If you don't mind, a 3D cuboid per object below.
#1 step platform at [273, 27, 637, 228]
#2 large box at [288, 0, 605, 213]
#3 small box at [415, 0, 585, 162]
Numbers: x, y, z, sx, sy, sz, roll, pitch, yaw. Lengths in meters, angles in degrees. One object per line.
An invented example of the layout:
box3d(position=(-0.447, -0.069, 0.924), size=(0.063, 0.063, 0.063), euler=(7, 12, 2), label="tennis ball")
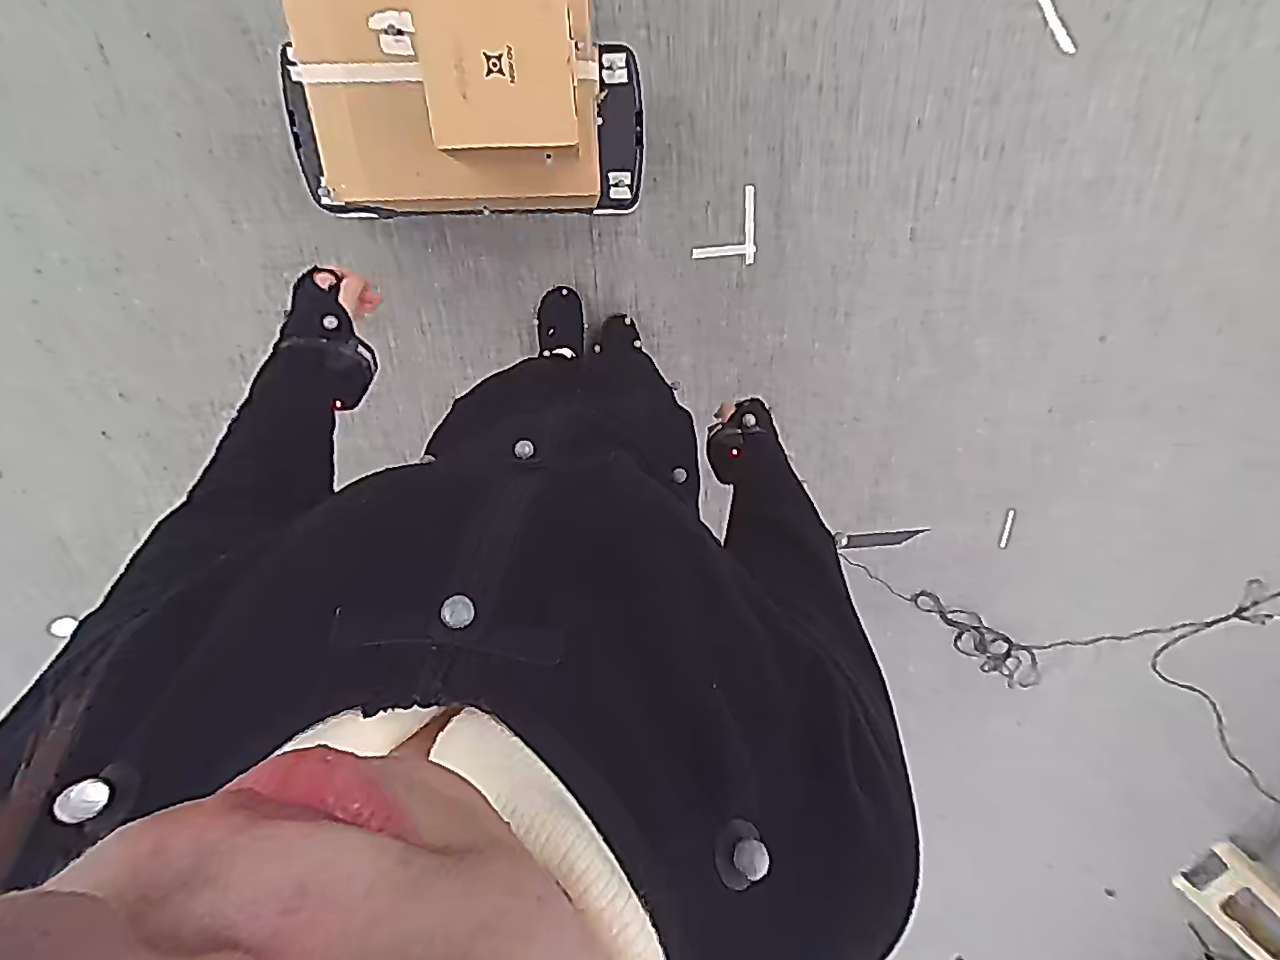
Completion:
box3d(position=(-0.346, -0.697, 1.108), size=(0.684, 0.204, 0.286), euler=(2, 113, -6), label="step platform")
box3d(position=(-0.271, -0.623, 0.887), size=(0.408, 0.320, 0.320), euler=(-4, 113, -3), label="large box")
box3d(position=(-0.163, -0.506, 0.681), size=(0.179, 0.176, 0.168), euler=(-4, 114, -4), label="small box")
